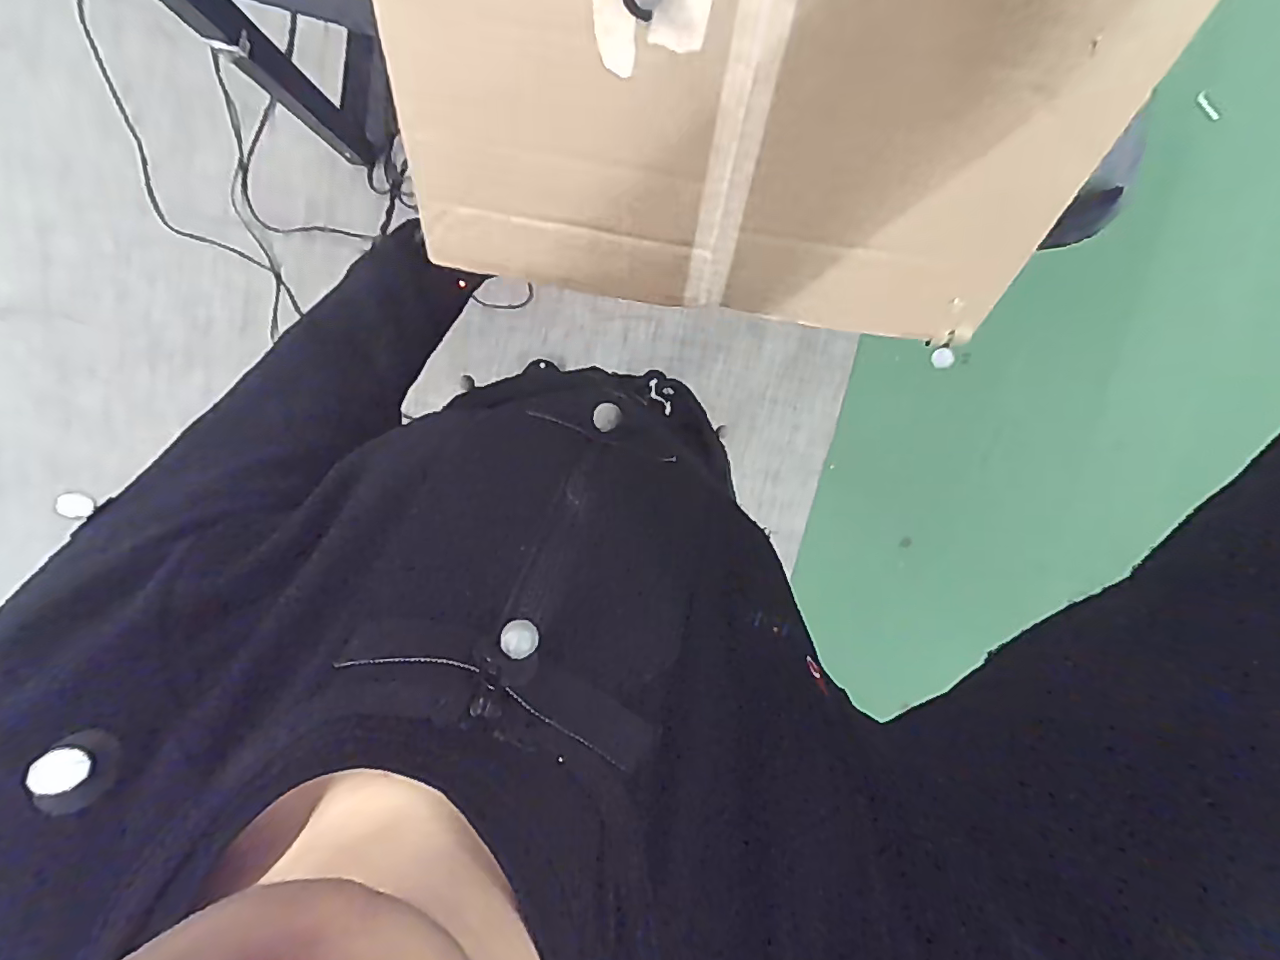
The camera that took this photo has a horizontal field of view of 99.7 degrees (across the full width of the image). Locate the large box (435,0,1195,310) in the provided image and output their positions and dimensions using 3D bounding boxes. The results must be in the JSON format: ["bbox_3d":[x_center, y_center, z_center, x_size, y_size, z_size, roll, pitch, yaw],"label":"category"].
[{"bbox_3d":[0.083,-0.356,0.254,0.320,0.320,0.408,8,144,-1],"label":"large box"}]
